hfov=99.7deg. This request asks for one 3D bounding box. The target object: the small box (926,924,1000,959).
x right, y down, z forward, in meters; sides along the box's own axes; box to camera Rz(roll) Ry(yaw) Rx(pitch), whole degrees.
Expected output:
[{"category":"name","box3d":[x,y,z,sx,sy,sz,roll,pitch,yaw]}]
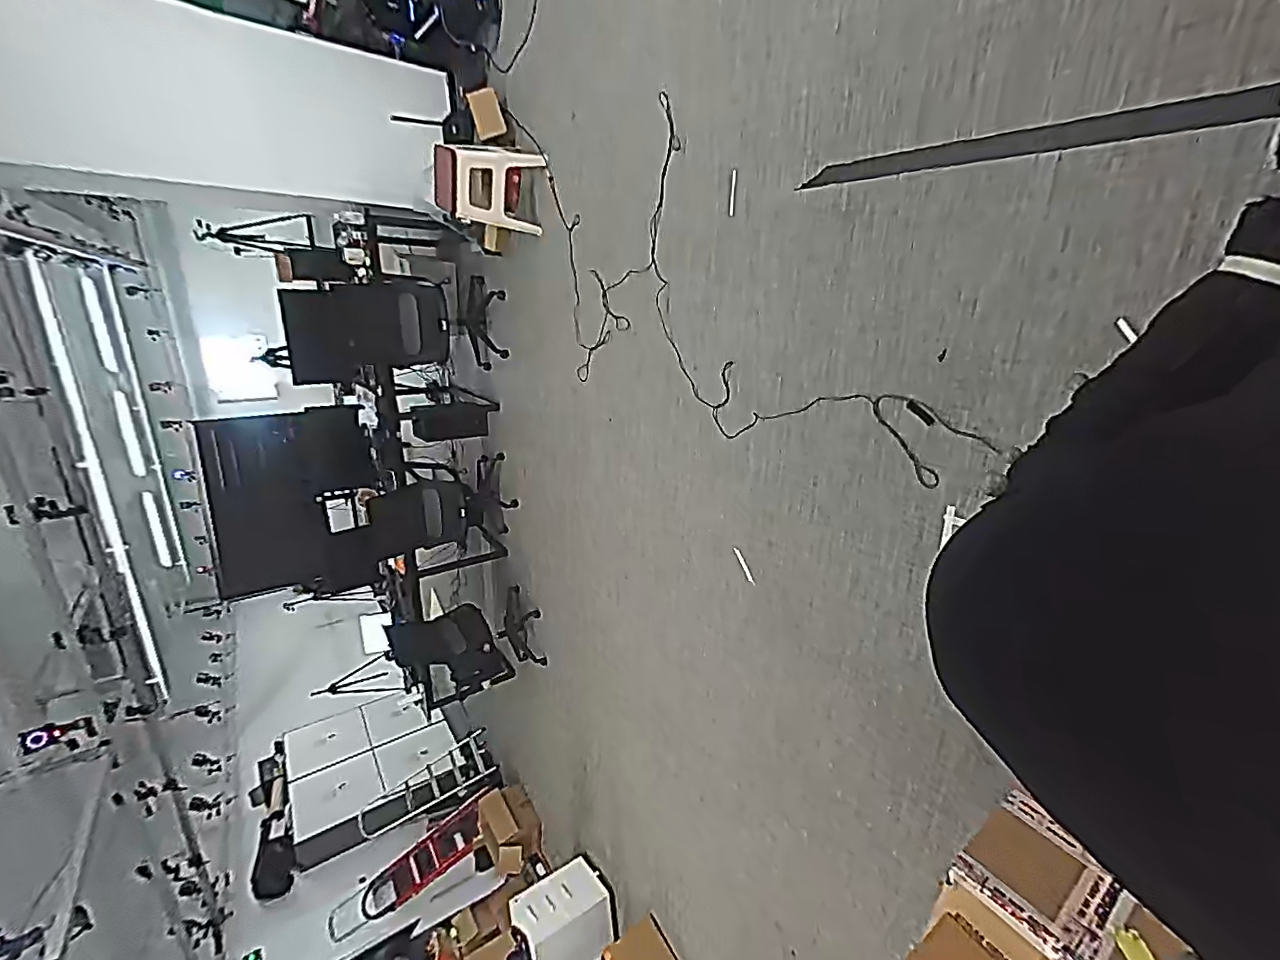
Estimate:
[{"category":"small box","box3d":[0.594,0.969,0.974,0.179,0.176,0.168,36,126,48]}]
